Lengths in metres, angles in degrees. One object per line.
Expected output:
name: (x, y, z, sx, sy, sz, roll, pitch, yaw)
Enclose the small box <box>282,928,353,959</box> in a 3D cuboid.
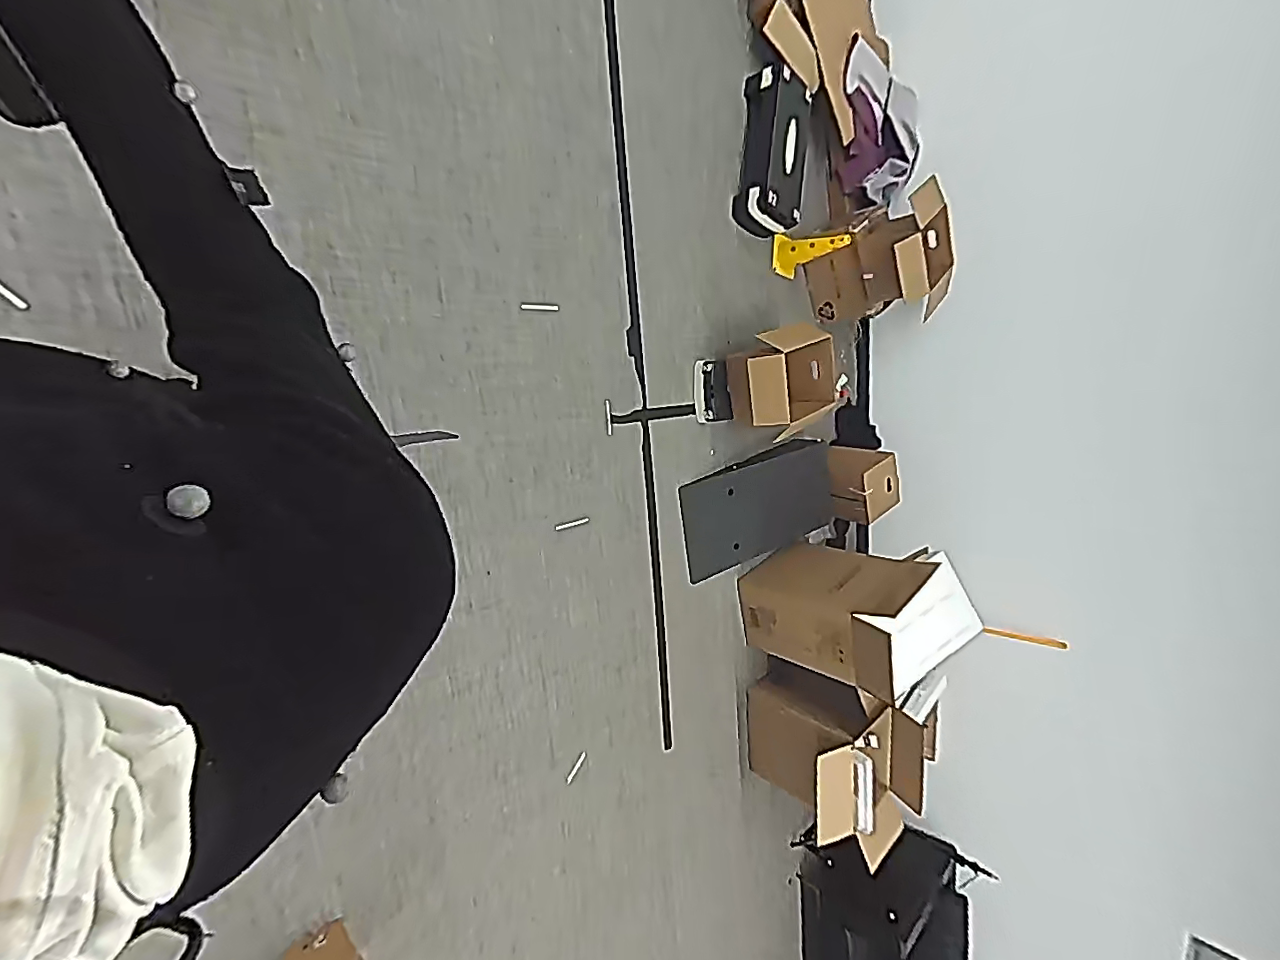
small box: (-0.893, 1.423, 1.508, 0.168, 0.176, 0.179, -11, 102, -43)
